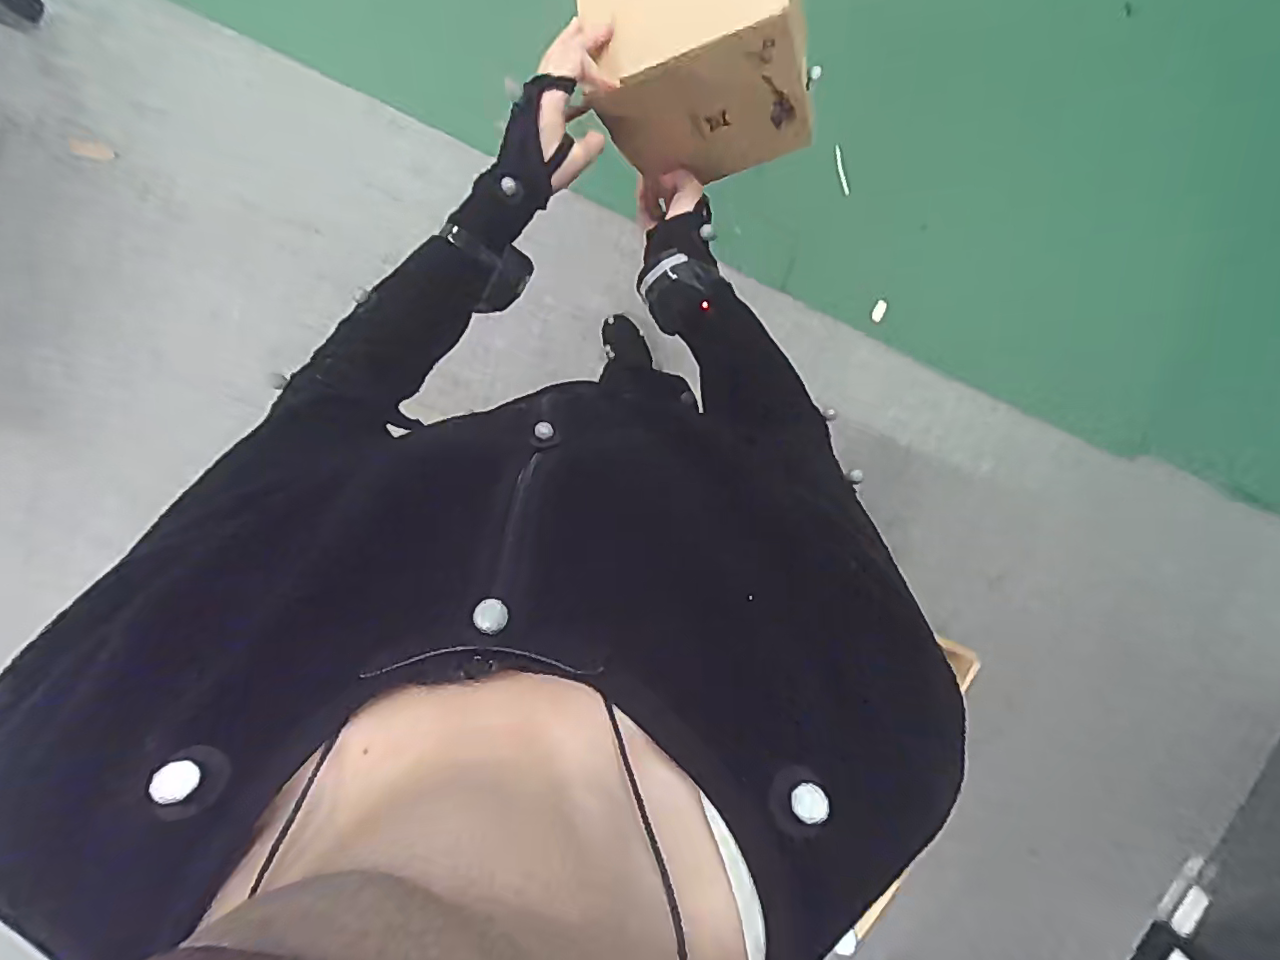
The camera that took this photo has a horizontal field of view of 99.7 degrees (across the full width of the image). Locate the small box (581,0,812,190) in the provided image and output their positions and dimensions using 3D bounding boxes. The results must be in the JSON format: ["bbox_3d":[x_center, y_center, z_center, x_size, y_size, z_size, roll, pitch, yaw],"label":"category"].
[{"bbox_3d":[0.058,-0.411,0.498,0.179,0.168,0.176,-5,87,22],"label":"small box"}]

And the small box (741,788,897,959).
[{"bbox_3d":[0.303,0.692,0.961,0.179,0.176,0.168,30,97,-7],"label":"small box"}]
